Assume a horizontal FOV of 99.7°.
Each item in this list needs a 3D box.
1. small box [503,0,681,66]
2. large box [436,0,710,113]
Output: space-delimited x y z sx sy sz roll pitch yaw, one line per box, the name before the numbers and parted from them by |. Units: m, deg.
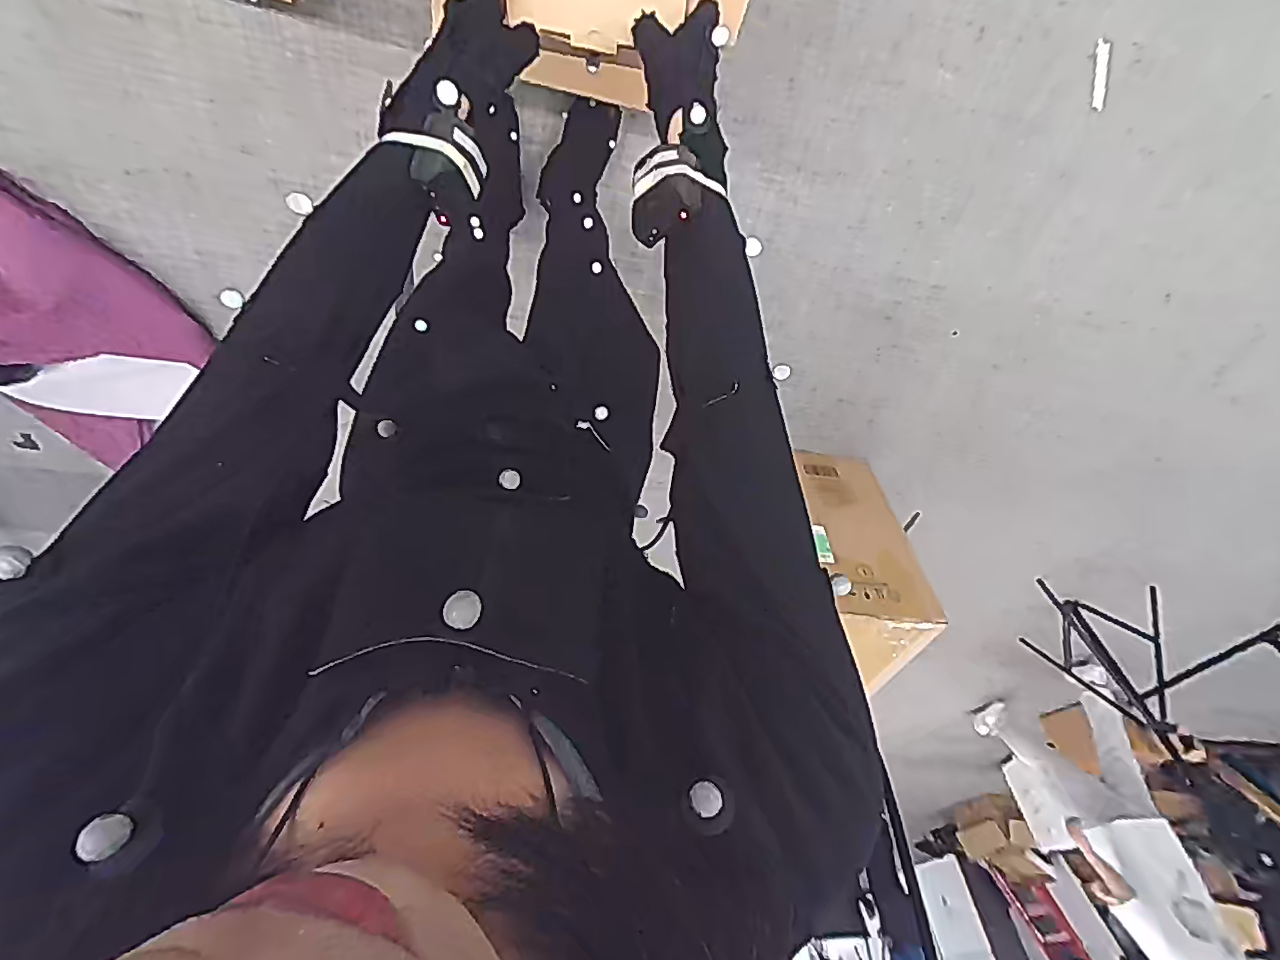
small box | -0.038 -0.534 0.534 0.168 0.176 0.179 5 124 -9
large box | -0.088 -0.821 0.838 0.408 0.320 0.320 6 134 -12
